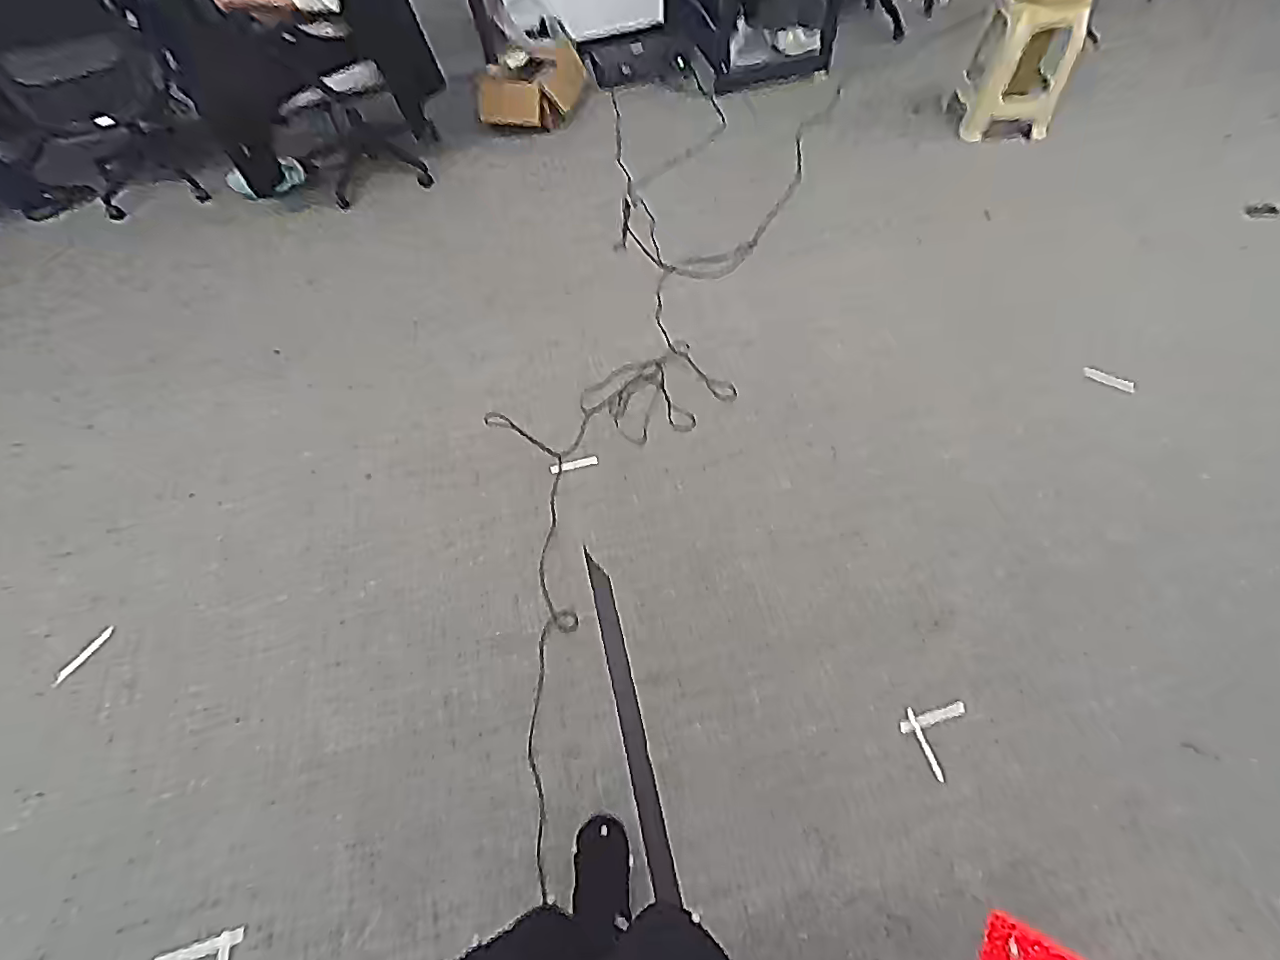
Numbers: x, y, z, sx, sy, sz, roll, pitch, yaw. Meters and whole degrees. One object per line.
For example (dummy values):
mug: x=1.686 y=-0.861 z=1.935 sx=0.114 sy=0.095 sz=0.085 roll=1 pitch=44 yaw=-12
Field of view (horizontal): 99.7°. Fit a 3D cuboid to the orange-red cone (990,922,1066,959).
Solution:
orange-red cone: x=0.673 y=0.816 z=0.765 sx=0.198 sy=0.360 sz=0.199 roll=26 pitch=65 yaw=19
